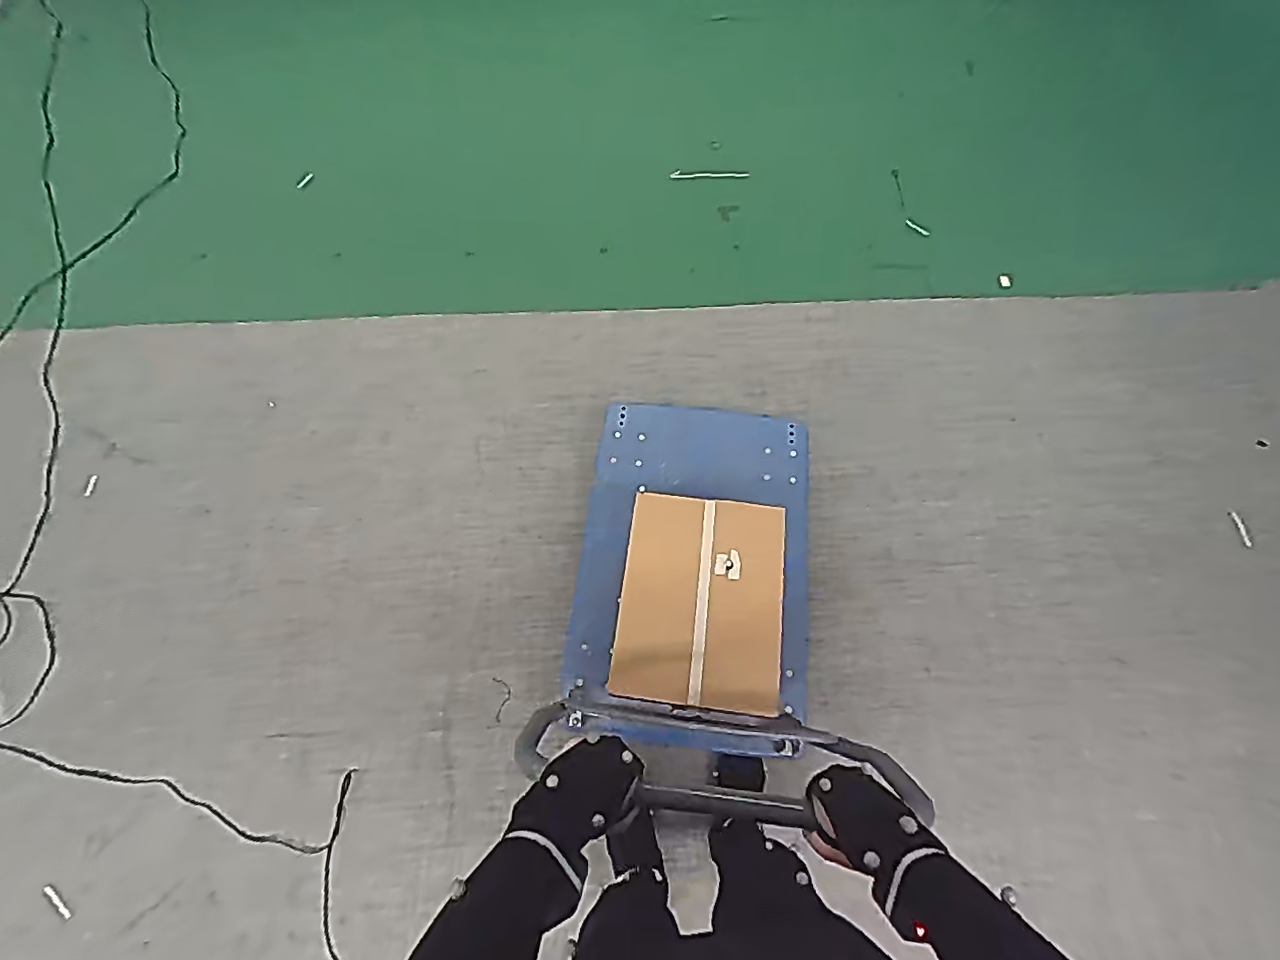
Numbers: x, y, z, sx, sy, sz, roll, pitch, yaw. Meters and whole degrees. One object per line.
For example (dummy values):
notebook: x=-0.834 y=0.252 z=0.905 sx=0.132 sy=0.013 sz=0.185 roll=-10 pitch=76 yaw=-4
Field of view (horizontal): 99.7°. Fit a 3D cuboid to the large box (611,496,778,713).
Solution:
large box: x=0.122 y=0.290 z=1.208 sx=0.320 sy=0.320 sz=0.408 roll=7 pitch=66 yaw=3
